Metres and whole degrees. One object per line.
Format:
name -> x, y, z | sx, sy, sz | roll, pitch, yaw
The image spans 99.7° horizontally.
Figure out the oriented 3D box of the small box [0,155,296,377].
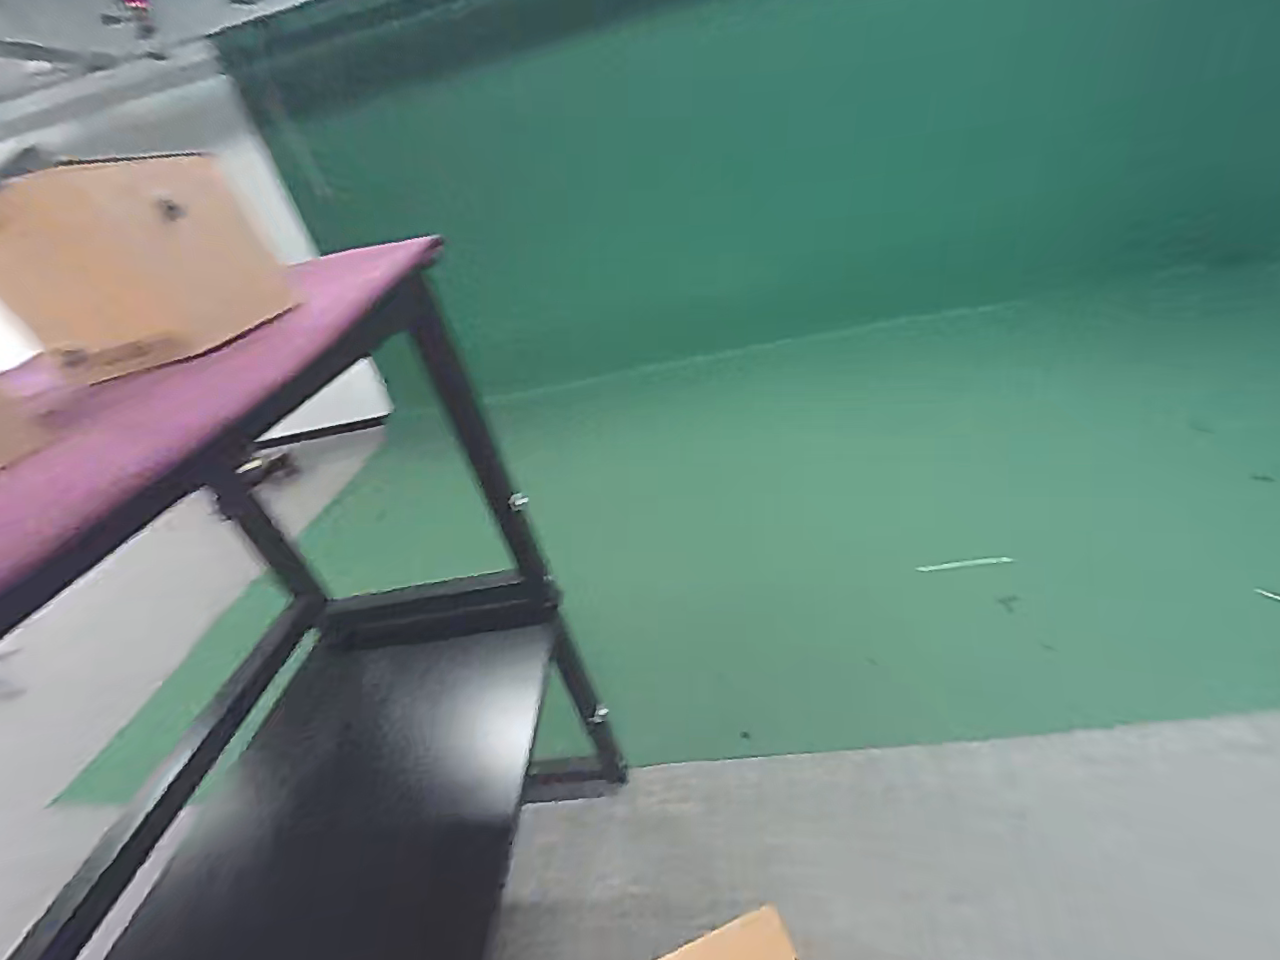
small box -> -0.516, -0.221, 0.572 | 0.168, 0.176, 0.179 | -11, 32, 10
